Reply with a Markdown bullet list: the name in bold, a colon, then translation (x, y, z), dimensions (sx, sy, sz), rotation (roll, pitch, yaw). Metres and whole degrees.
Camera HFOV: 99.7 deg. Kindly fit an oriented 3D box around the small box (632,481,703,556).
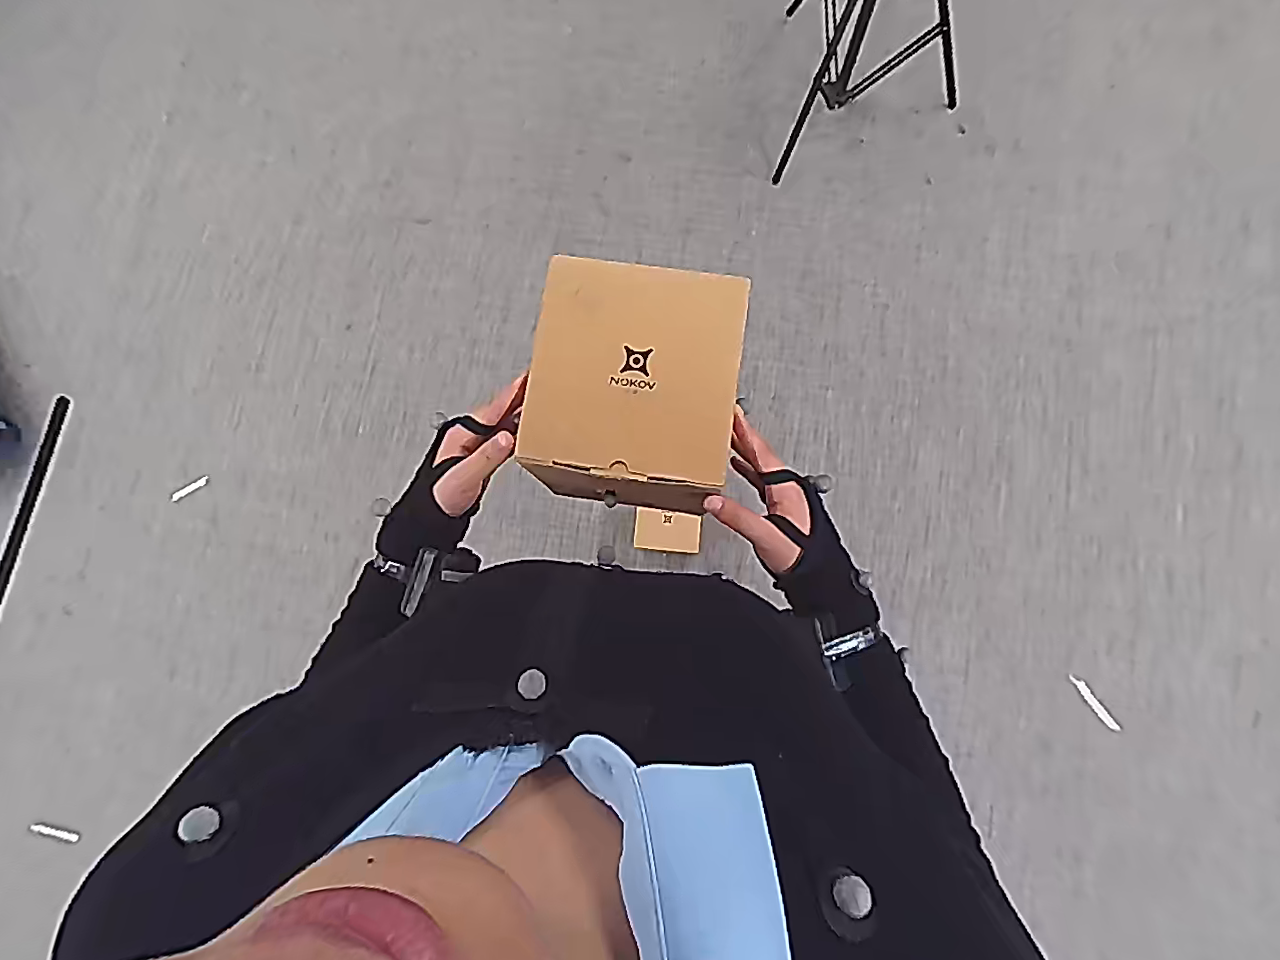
- **small box**: translation (0.077, 0.107, 1.438), dimensions (0.168, 0.176, 0.179), rotation (5, 81, 5)
